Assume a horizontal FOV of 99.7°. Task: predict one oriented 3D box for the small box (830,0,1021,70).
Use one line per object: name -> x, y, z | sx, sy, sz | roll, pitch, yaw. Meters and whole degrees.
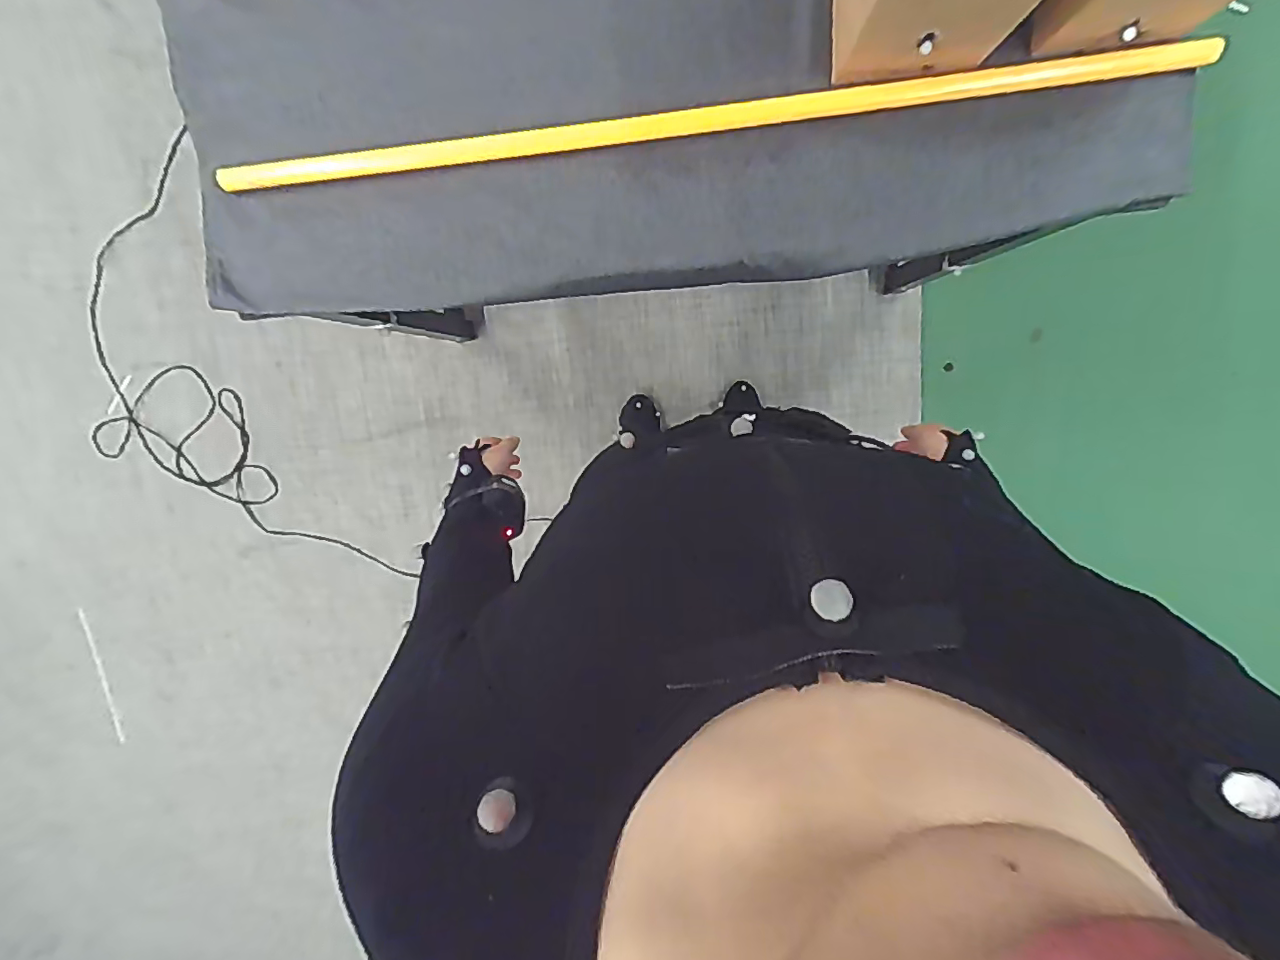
small box -> 0.300, -0.552, 0.548 | 0.168, 0.176, 0.179 | -2, 101, 3
